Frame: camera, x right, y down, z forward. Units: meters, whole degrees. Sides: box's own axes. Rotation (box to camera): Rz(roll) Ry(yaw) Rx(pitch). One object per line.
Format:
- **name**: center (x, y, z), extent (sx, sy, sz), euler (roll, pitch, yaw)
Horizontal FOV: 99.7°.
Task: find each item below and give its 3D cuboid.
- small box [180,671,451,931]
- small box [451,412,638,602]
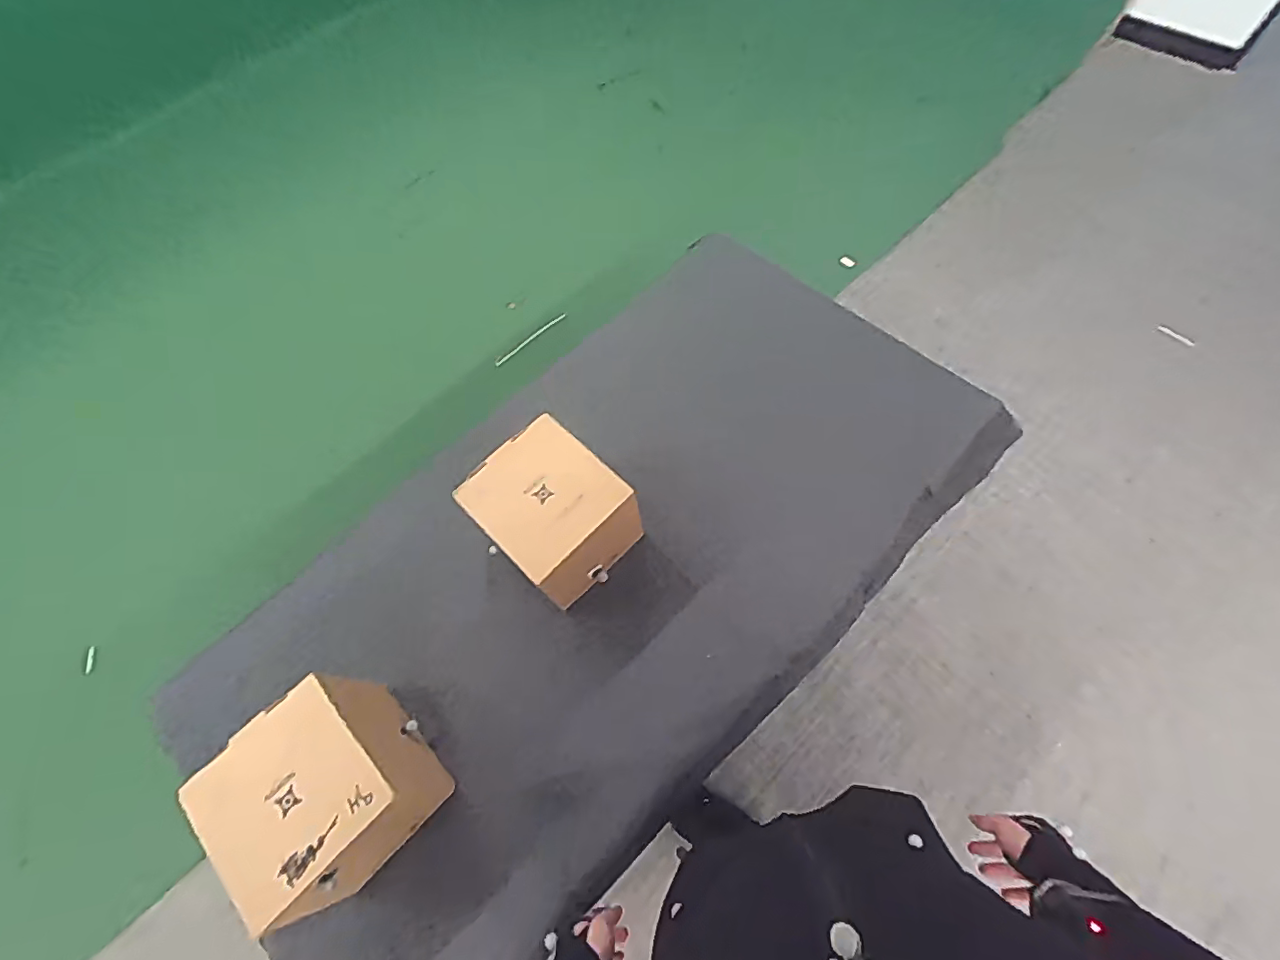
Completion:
- **small box**: center (-0.357, 0.353, 0.626), extent (0.179, 0.176, 0.168), euler (40, 75, 21)
- **small box**: center (-0.120, 0.046, 0.752), extent (0.179, 0.176, 0.168), euler (41, 76, 18)
